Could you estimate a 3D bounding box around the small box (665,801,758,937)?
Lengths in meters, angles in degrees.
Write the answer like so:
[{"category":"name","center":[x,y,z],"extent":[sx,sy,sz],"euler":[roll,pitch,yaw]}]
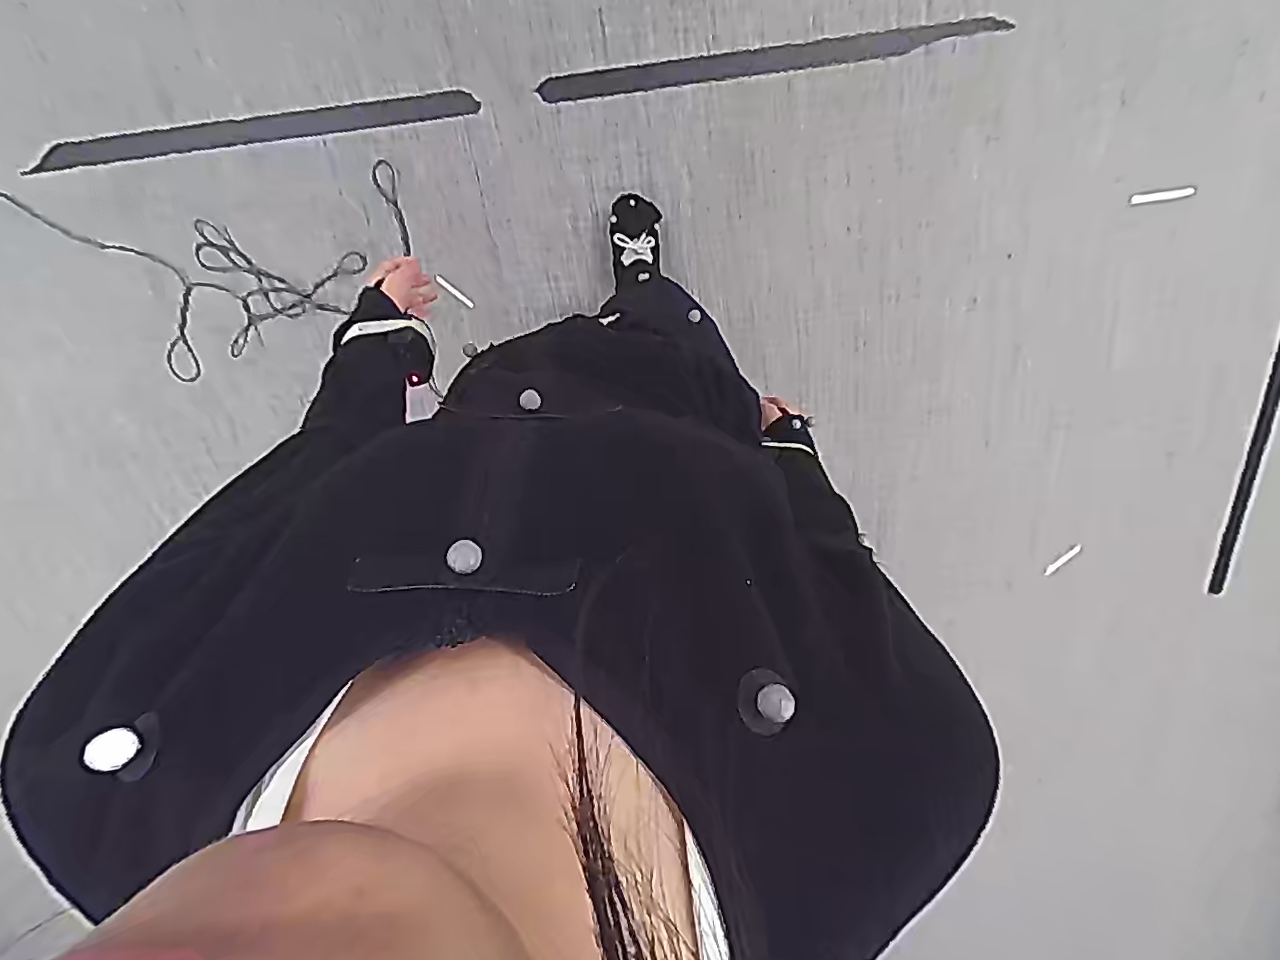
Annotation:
[{"category":"small box","center":[0.142,0.797,1.125],"extent":[0.168,0.176,0.179],"euler":[-3,111,-1]}]
